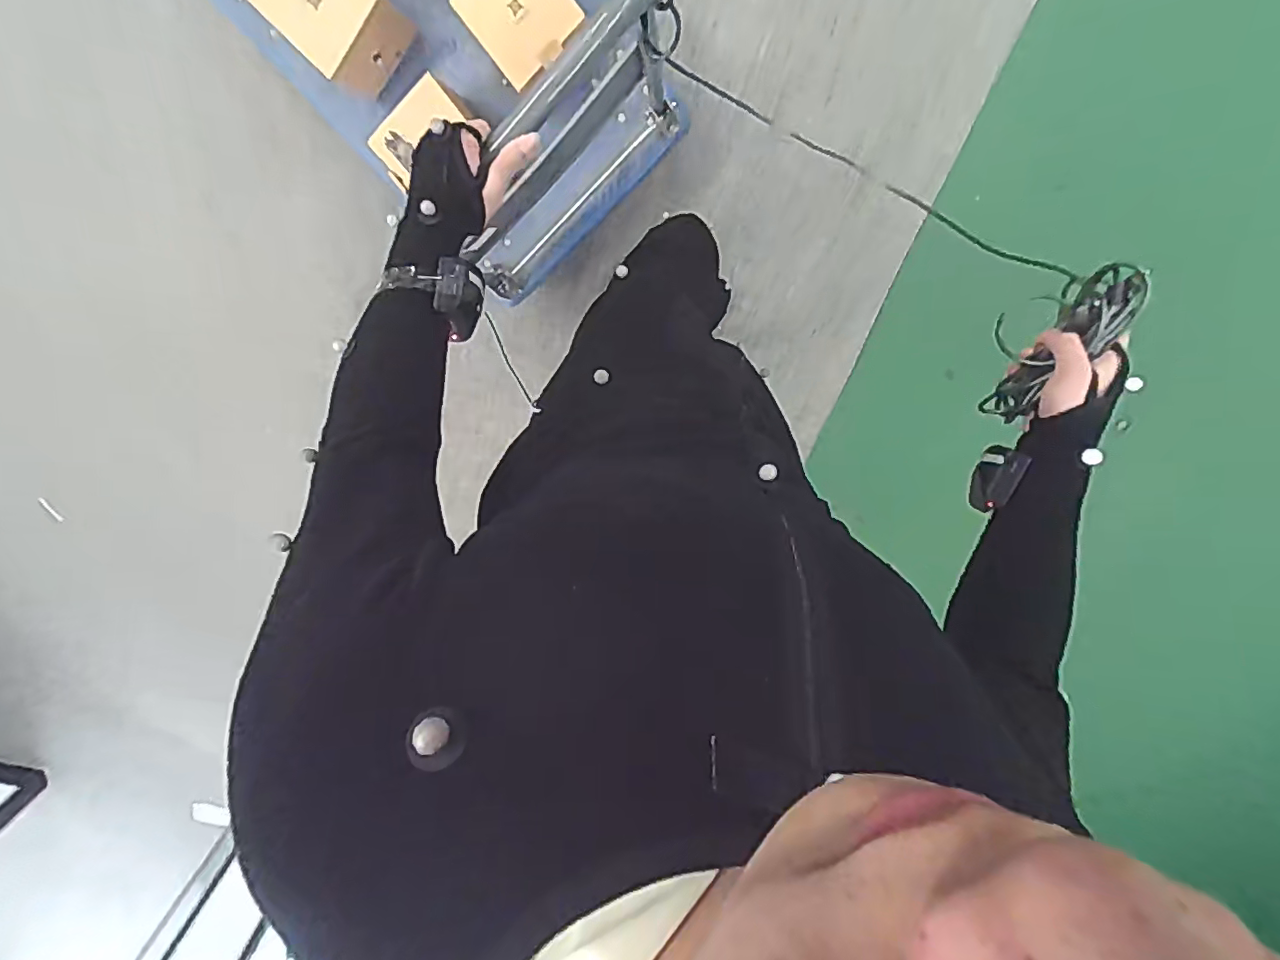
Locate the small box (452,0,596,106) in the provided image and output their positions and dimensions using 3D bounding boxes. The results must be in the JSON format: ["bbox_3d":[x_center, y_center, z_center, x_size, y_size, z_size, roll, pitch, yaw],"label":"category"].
[{"bbox_3d":[-0.201,-0.828,0.981,0.168,0.176,0.179,-37,107,17],"label":"small box"}]

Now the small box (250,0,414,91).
[{"bbox_3d":[-0.553,-0.854,0.987,0.179,0.176,0.168,43,109,-15],"label":"small box"}]
